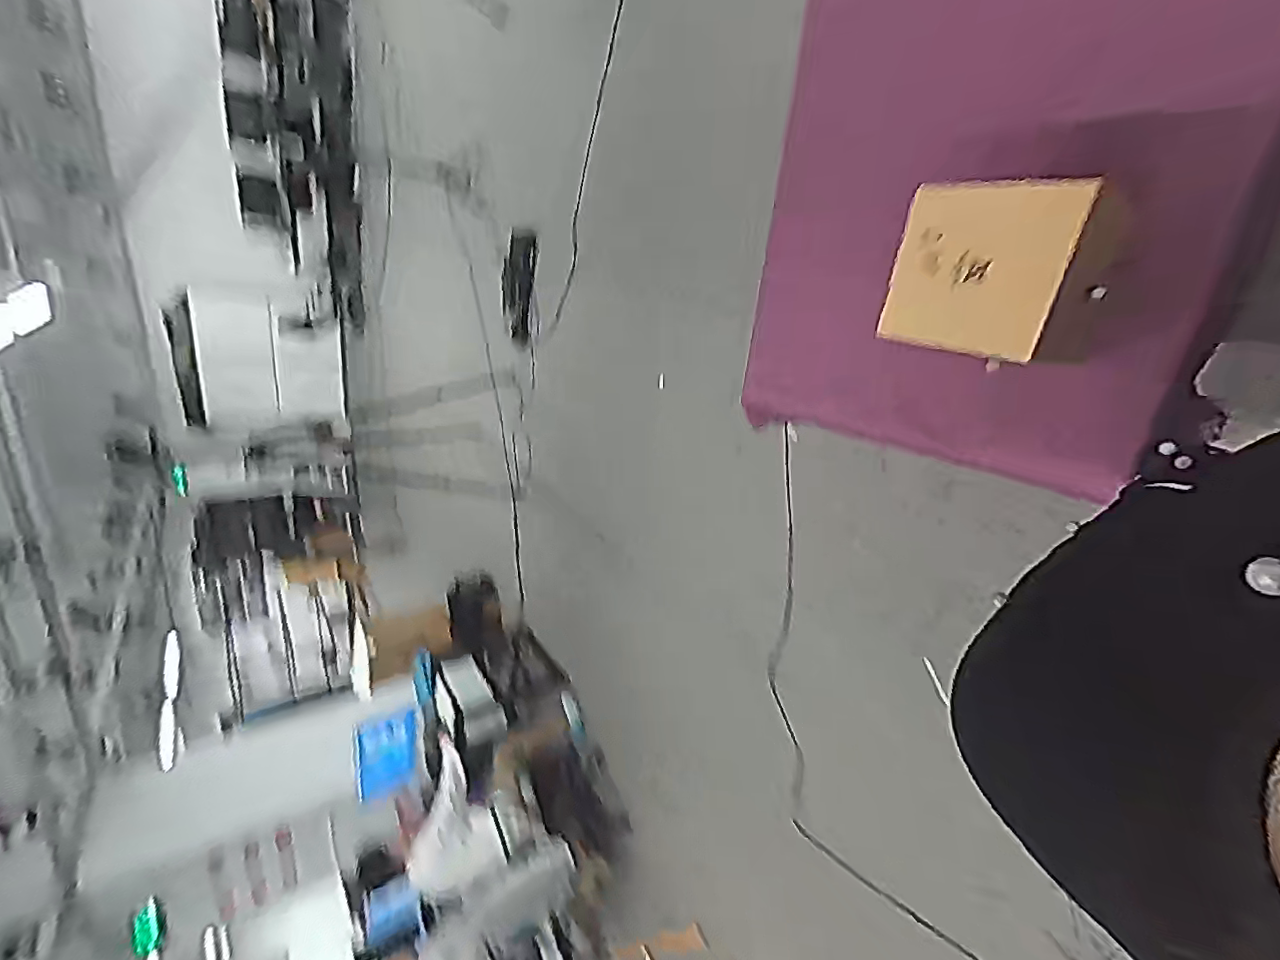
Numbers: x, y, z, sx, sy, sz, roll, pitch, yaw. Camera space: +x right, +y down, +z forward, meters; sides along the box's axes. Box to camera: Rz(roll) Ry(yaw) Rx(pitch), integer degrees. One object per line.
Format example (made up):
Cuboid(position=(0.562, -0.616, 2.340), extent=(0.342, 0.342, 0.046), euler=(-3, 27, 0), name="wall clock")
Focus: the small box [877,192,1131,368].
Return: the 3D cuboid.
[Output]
Cuboid(position=(0.420, -0.230, 0.632), extent=(0.179, 0.176, 0.168), euler=(31, 120, 47), name="small box")
